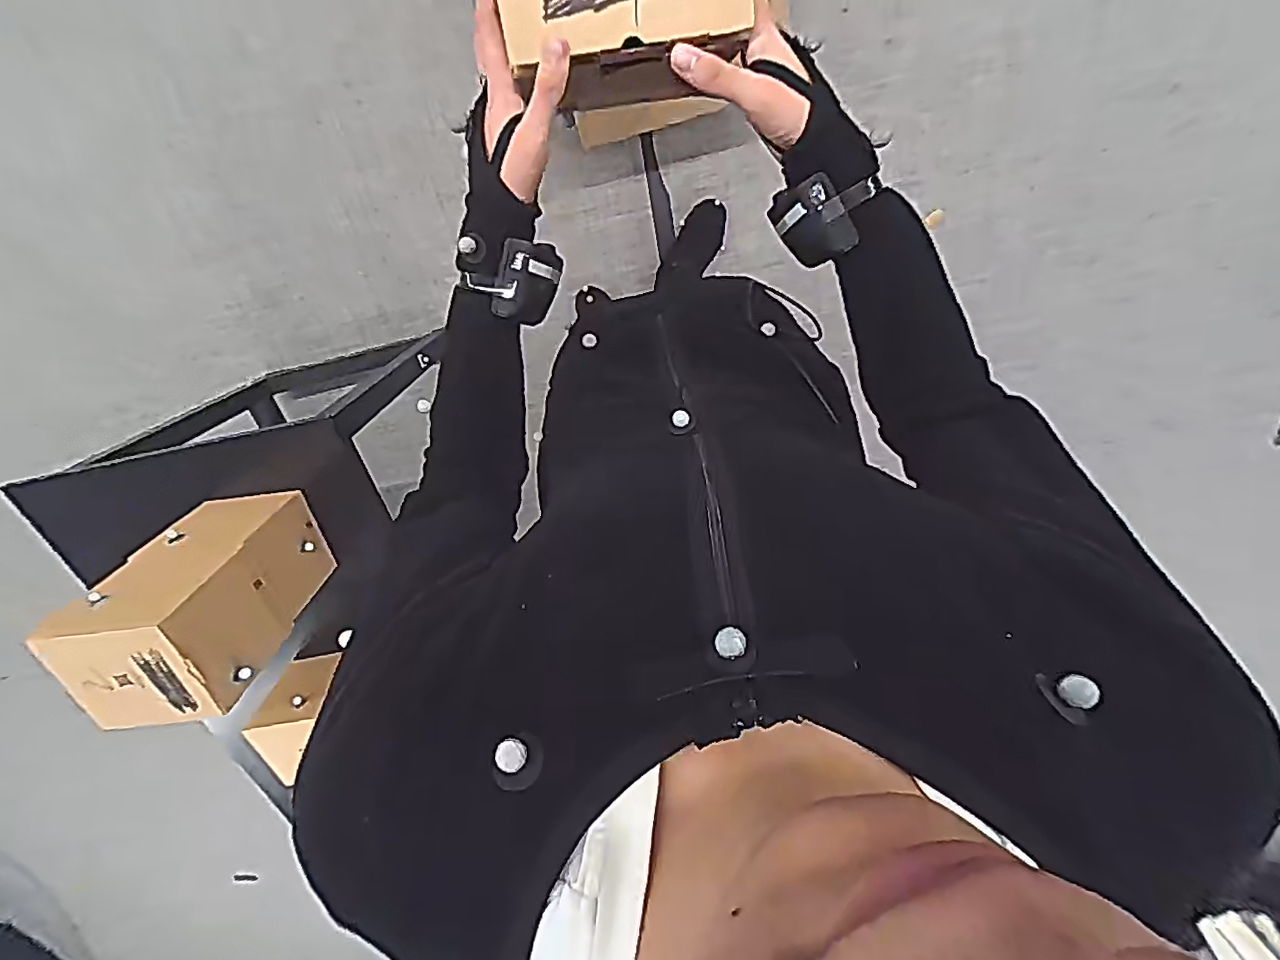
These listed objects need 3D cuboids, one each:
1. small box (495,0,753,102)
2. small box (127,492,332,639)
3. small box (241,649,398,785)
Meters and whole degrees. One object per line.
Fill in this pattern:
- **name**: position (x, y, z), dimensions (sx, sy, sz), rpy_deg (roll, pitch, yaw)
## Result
- **small box**: position (-0.022, -0.394, 0.388), dimensions (0.168, 0.176, 0.179), rpy_deg (-9, 115, -1)
- **small box**: position (-0.656, 0.136, 0.890), dimensions (0.179, 0.176, 0.168), rpy_deg (-7, 119, 3)
- **small box**: position (-0.616, 0.461, 1.066), dimensions (0.179, 0.176, 0.168), rpy_deg (-12, 117, 5)
